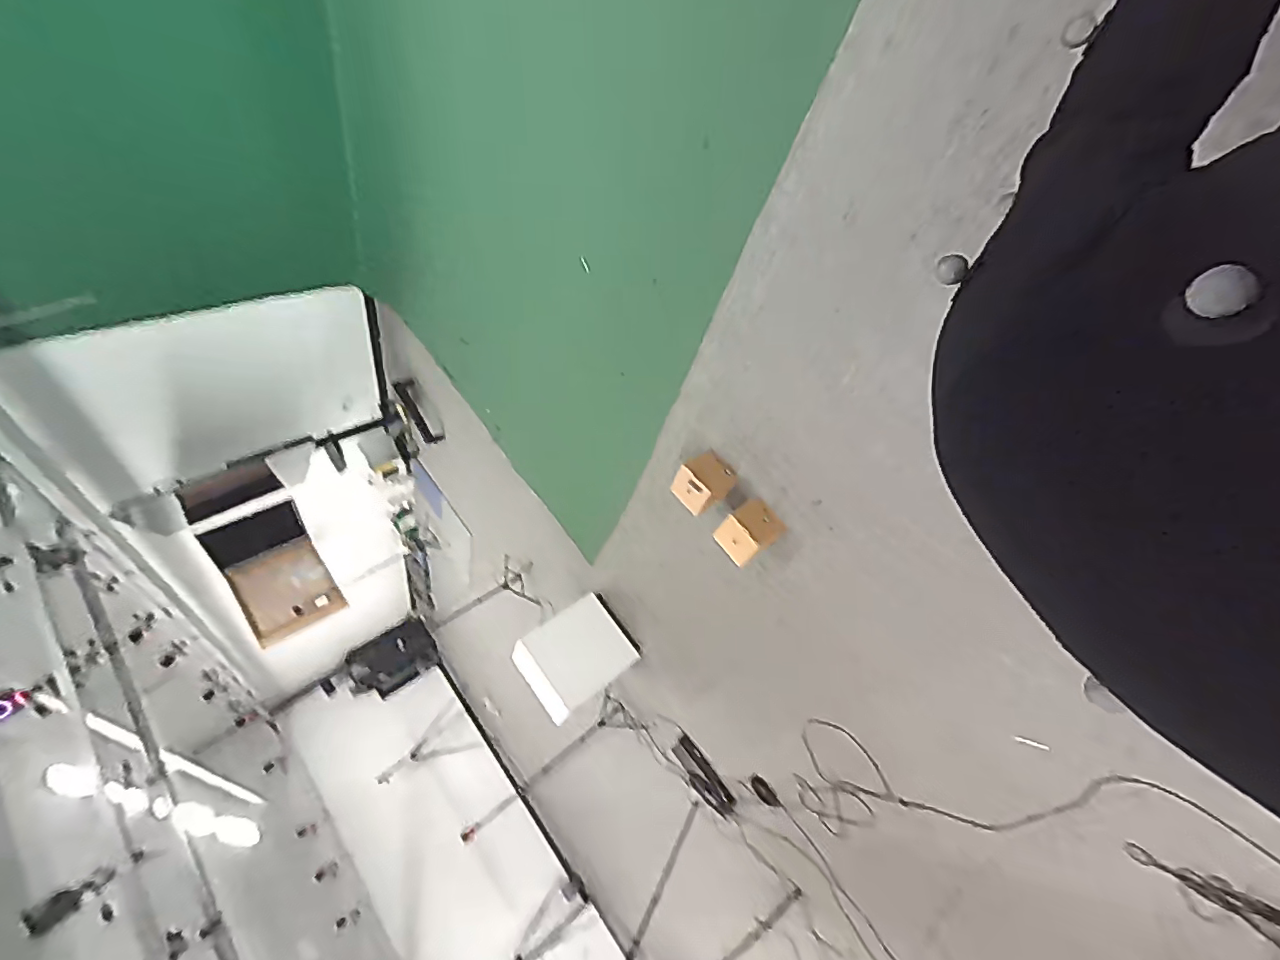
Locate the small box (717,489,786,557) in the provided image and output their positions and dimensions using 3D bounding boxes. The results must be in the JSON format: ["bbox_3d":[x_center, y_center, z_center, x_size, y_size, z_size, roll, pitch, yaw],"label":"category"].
[{"bbox_3d":[0.439,0.167,2.122,0.168,0.176,0.179,50,145,17],"label":"small box"}]

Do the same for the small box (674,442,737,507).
[{"bbox_3d":[0.272,-0.026,2.207,0.168,0.176,0.179,48,145,20],"label":"small box"}]
